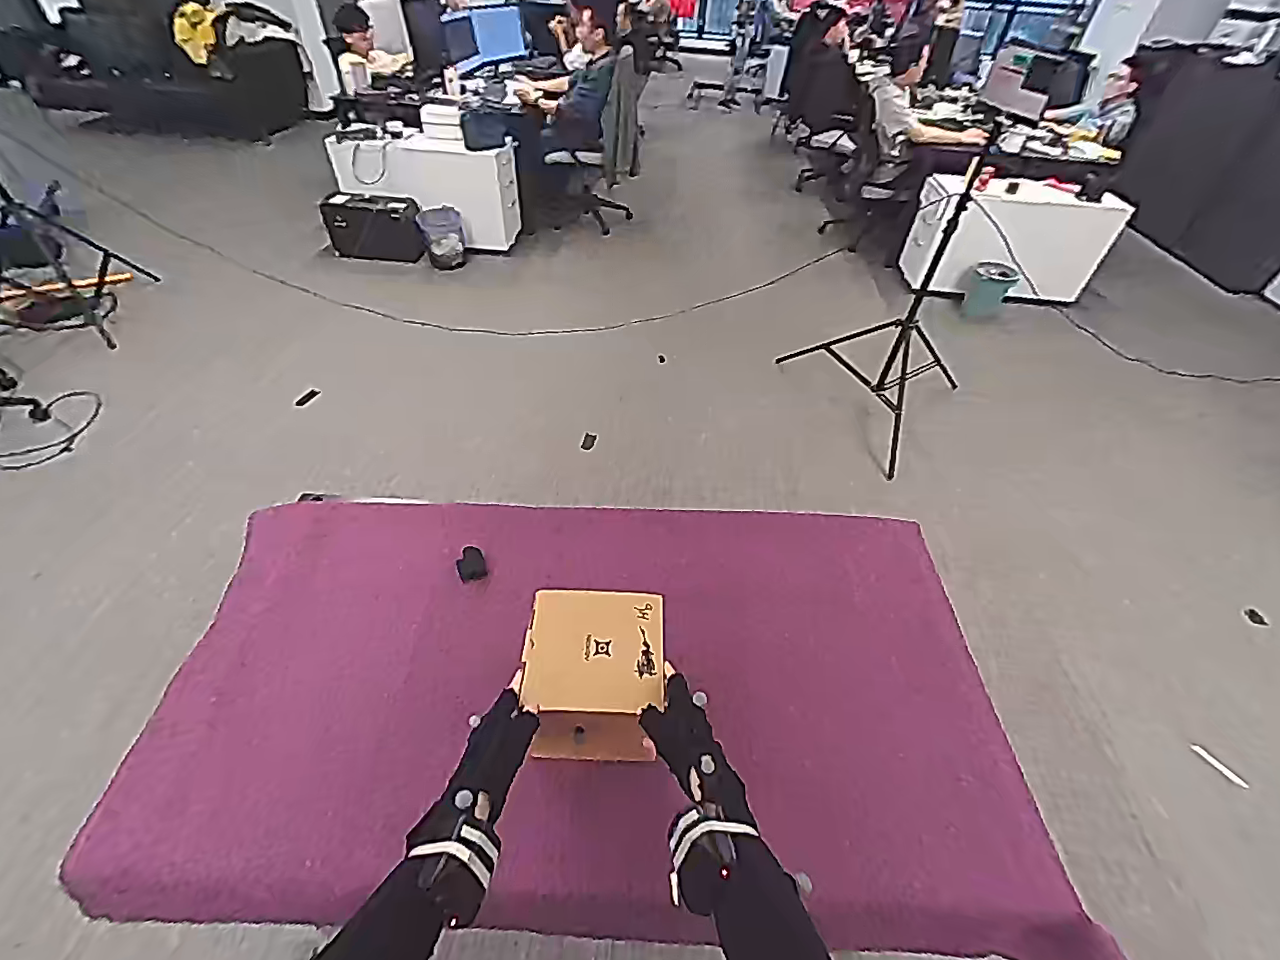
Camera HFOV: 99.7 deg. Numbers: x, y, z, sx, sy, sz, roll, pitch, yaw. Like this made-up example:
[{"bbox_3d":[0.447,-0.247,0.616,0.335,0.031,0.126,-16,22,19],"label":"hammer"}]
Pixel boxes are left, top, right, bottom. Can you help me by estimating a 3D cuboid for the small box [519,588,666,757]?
[{"bbox_3d":[-0.056,0.267,0.745,0.179,0.176,0.168,2,45,-1],"label":"small box"}]
